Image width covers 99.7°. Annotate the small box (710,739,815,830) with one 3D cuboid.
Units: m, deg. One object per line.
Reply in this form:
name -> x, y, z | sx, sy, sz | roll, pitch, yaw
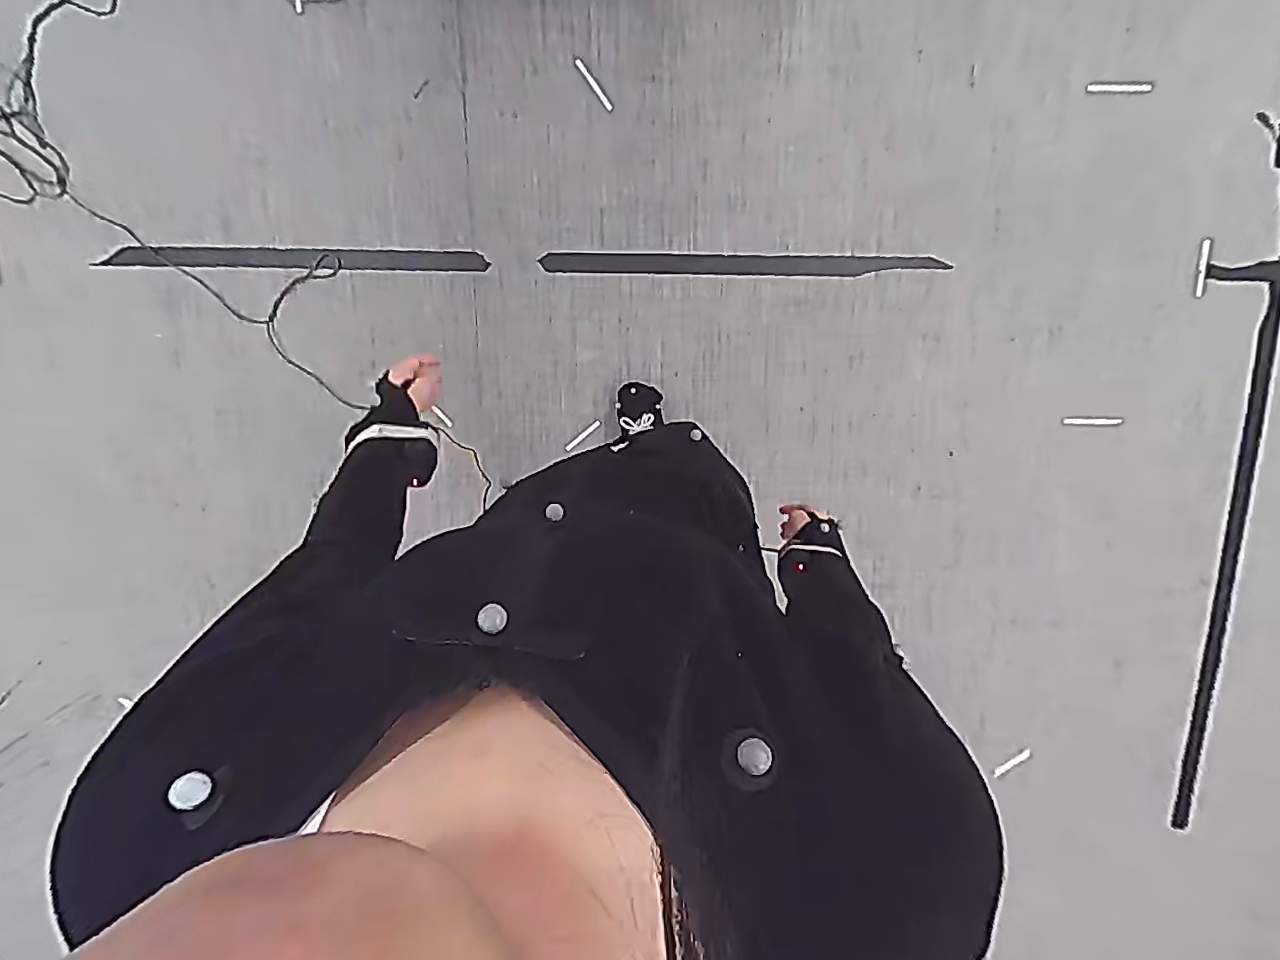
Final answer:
small box -> 0.288, 0.769, 1.317 | 0.168, 0.176, 0.179 | -39, 97, 7
